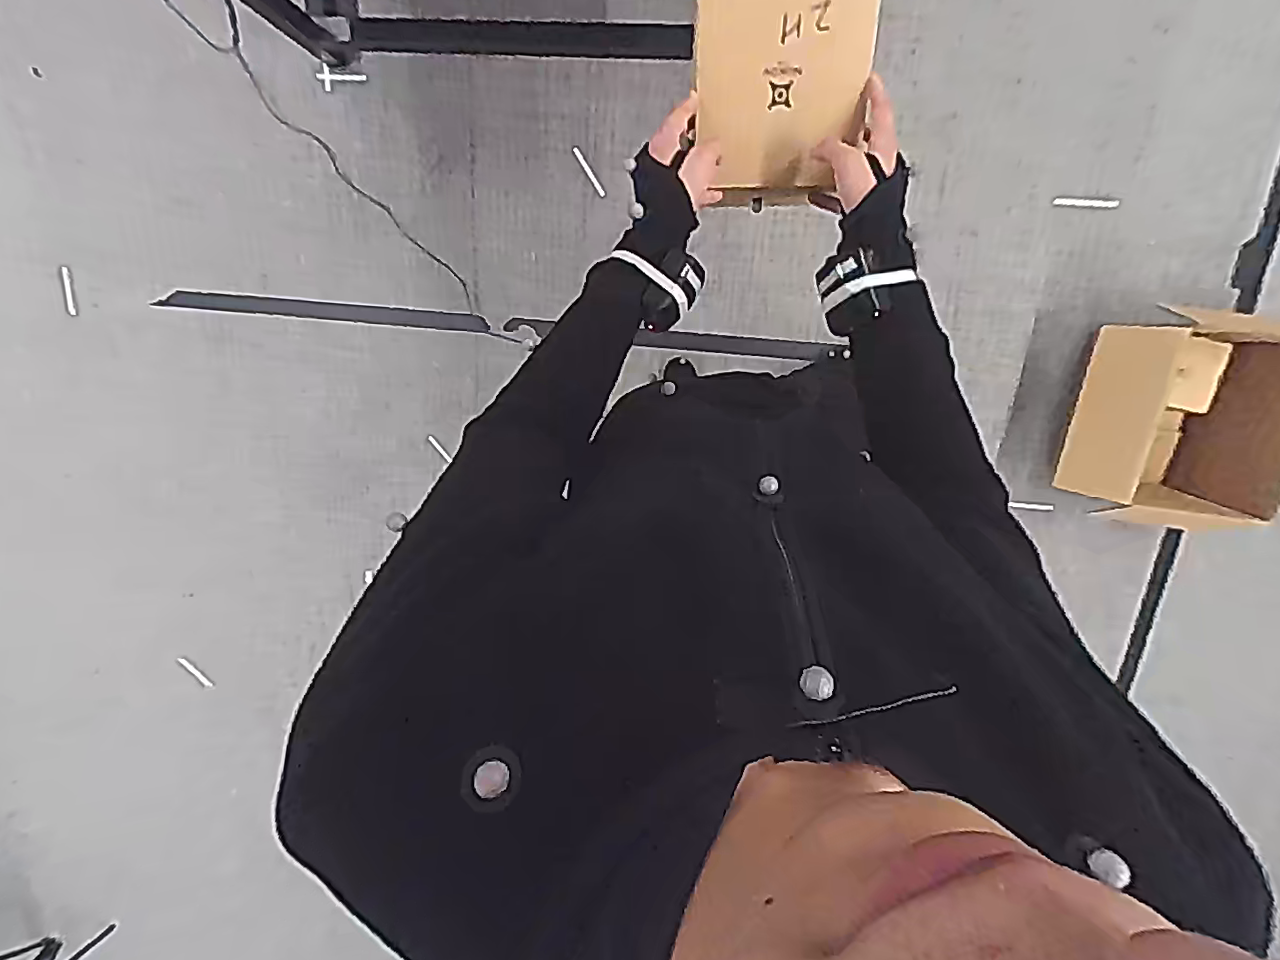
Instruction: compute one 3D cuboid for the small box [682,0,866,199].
[{"bbox_3d":[0.131,-0.413,0.594,0.168,0.176,0.179,0,110,3],"label":"small box"}]
